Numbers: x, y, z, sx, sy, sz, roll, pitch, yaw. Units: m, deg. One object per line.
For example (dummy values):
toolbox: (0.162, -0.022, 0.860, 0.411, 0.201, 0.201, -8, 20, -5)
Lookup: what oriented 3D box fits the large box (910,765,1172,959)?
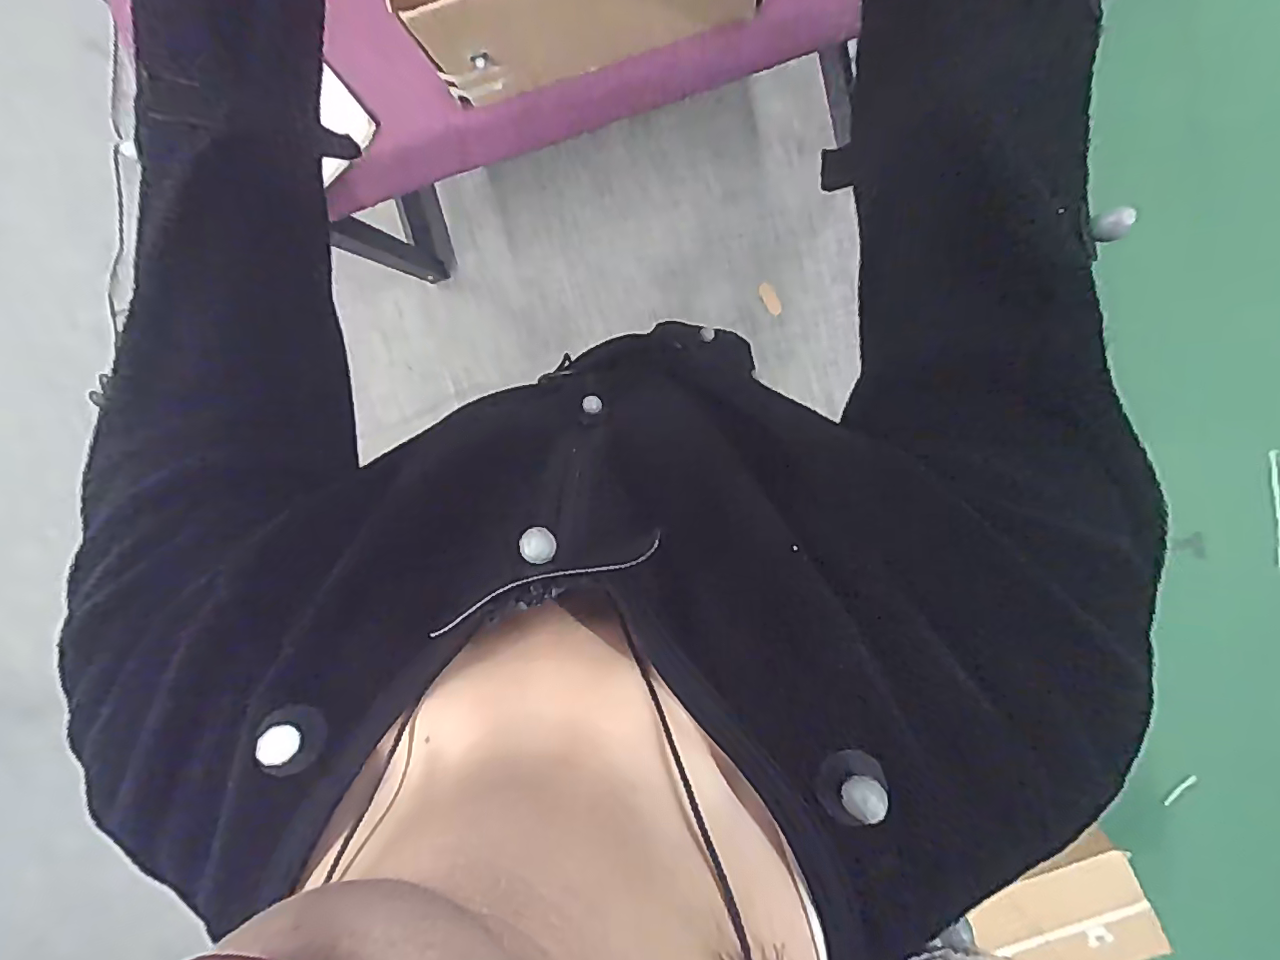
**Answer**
large box: (1.022, 1.052, 1.432, 0.408, 0.320, 0.320, -29, 96, 8)
